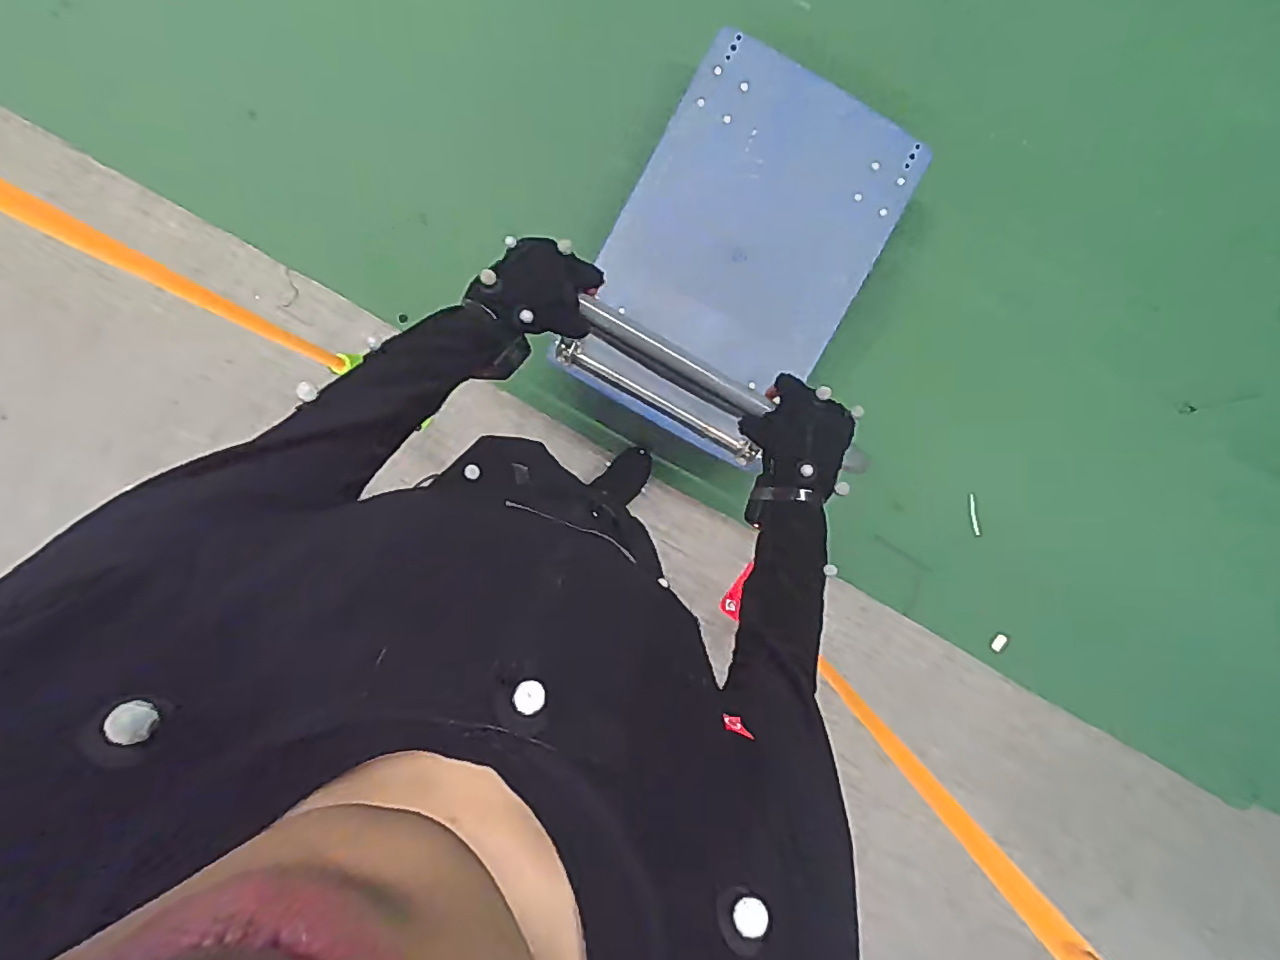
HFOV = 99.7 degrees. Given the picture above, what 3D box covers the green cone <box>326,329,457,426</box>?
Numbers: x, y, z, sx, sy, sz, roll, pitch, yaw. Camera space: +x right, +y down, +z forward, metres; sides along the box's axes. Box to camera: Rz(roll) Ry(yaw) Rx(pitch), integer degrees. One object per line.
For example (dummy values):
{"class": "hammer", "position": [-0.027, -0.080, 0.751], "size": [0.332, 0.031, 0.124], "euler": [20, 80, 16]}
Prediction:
{"class": "green cone", "position": [-0.611, -0.262, 1.267], "size": [0.202, 0.368, 0.200], "euler": [34, 92, -3]}
